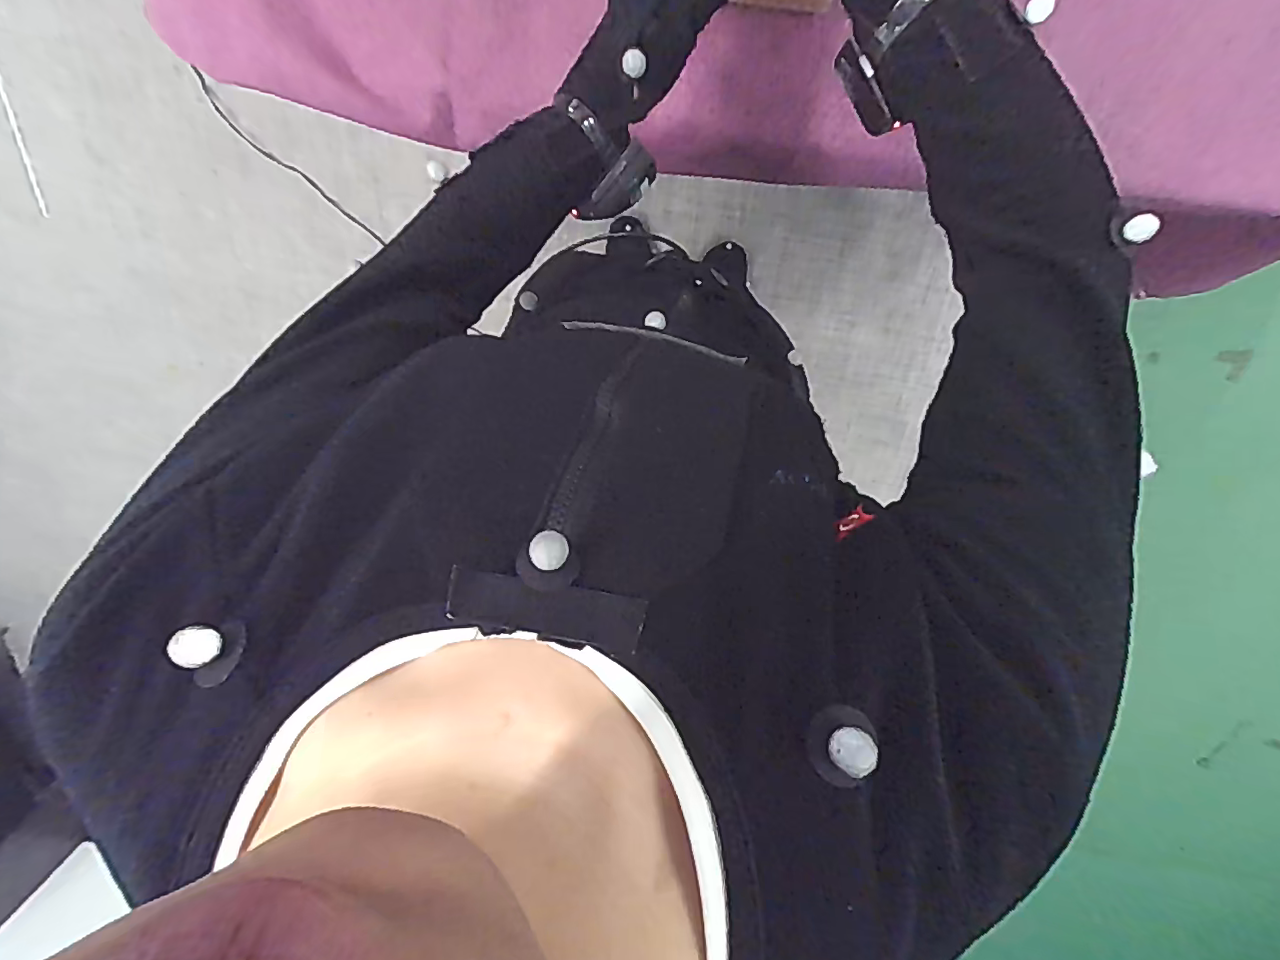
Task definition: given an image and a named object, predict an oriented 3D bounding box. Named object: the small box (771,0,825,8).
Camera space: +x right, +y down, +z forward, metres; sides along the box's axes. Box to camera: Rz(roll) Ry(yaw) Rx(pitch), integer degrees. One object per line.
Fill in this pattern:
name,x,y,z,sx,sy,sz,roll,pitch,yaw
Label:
small box,0.099,-0.498,0.404,0.168,0.176,0.179,8,113,1
